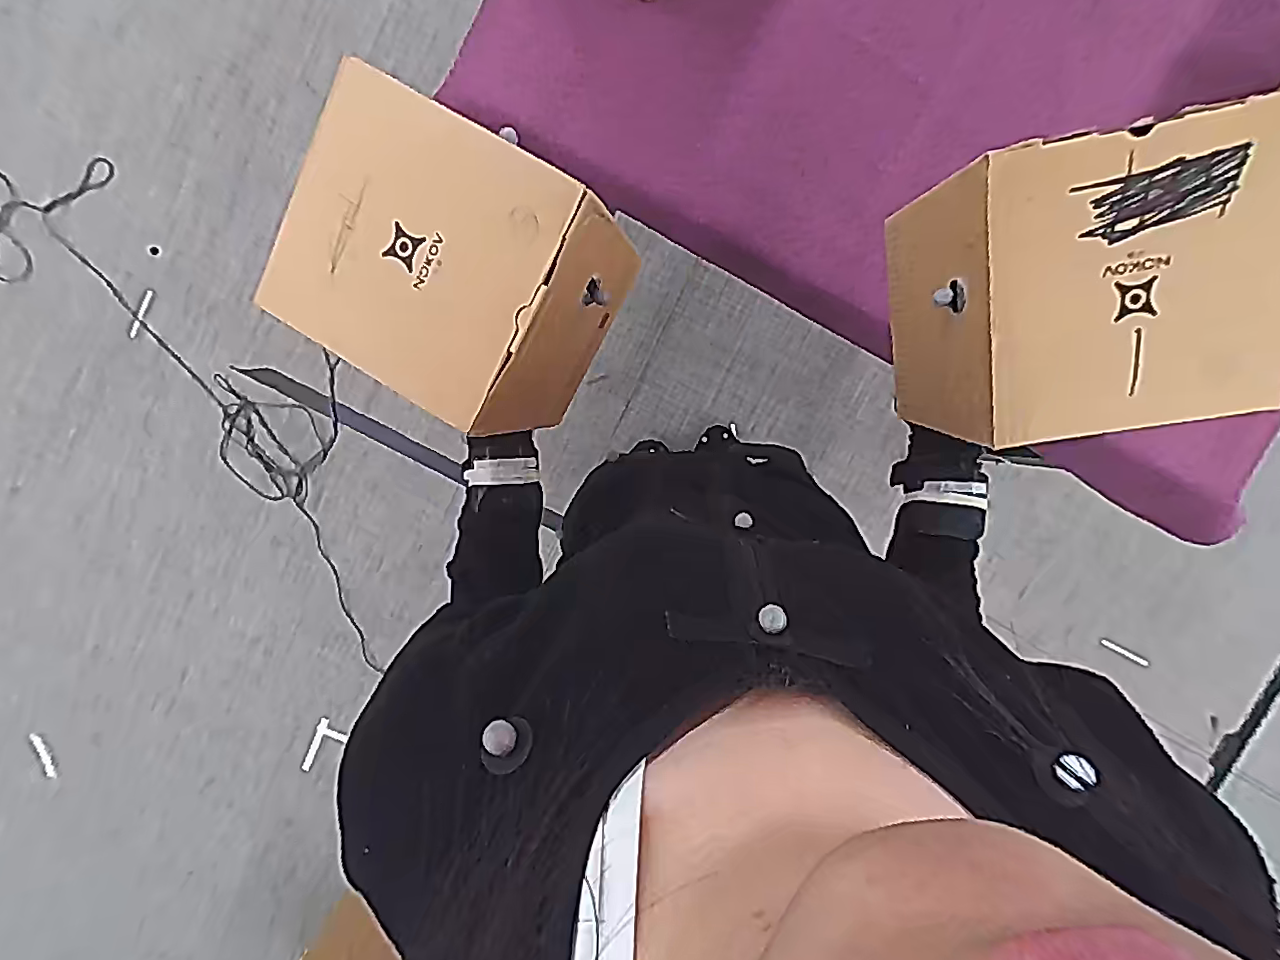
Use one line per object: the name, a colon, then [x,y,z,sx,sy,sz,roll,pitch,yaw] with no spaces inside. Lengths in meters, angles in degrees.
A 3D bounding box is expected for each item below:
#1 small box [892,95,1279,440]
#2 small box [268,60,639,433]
small box: [0.301,-0.136,0.400,0.168,0.176,0.179,-8,103,7]
small box: [-0.119,-0.153,0.411,0.179,0.176,0.168,31,102,6]
